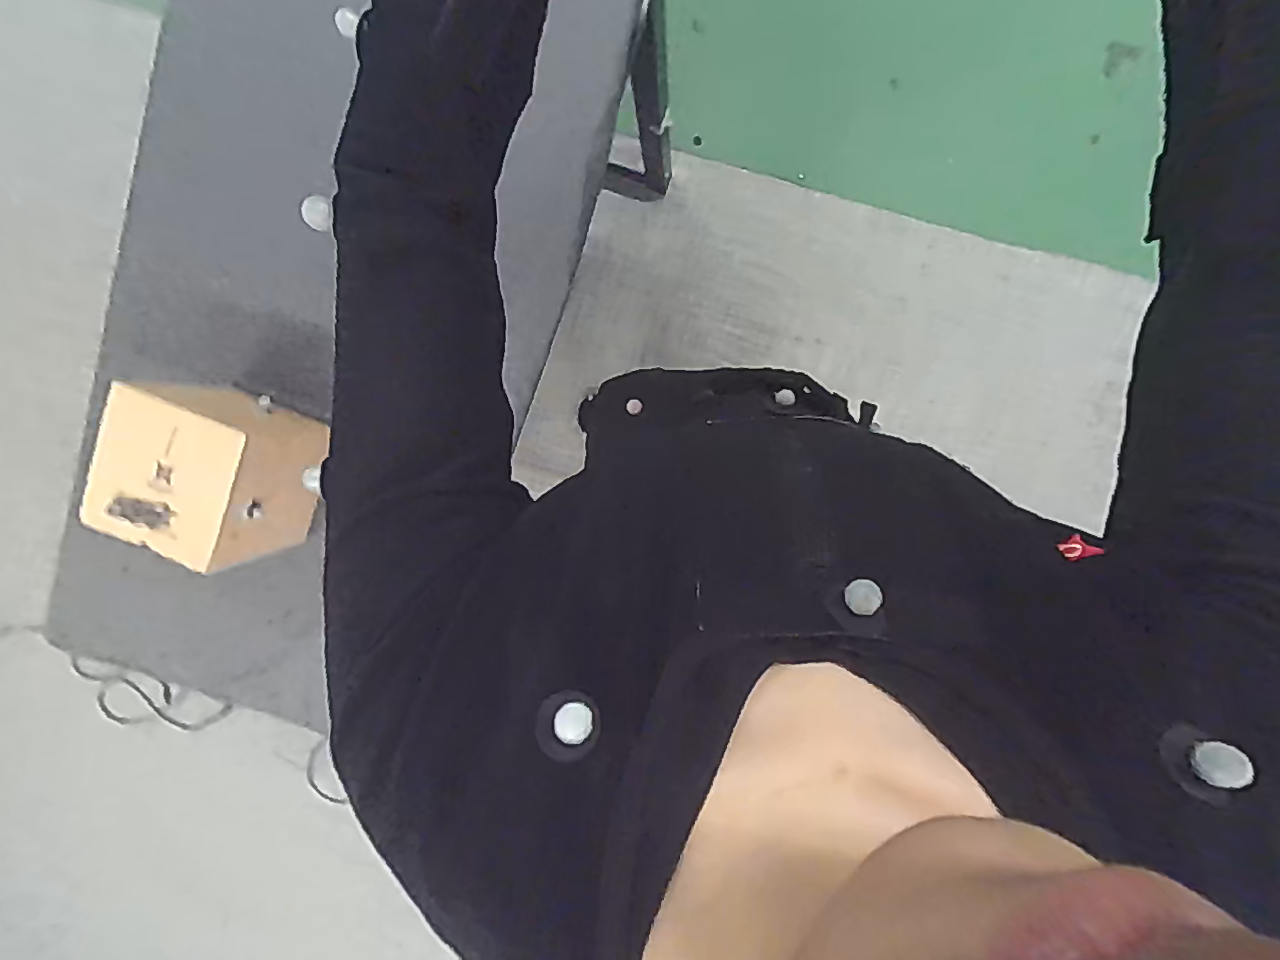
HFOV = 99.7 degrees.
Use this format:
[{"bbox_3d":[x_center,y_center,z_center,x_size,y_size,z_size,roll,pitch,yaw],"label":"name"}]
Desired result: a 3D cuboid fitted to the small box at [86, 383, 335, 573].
[{"bbox_3d":[-0.530,-0.009,0.691,0.168,0.176,0.179,21,97,1],"label":"small box"}]
